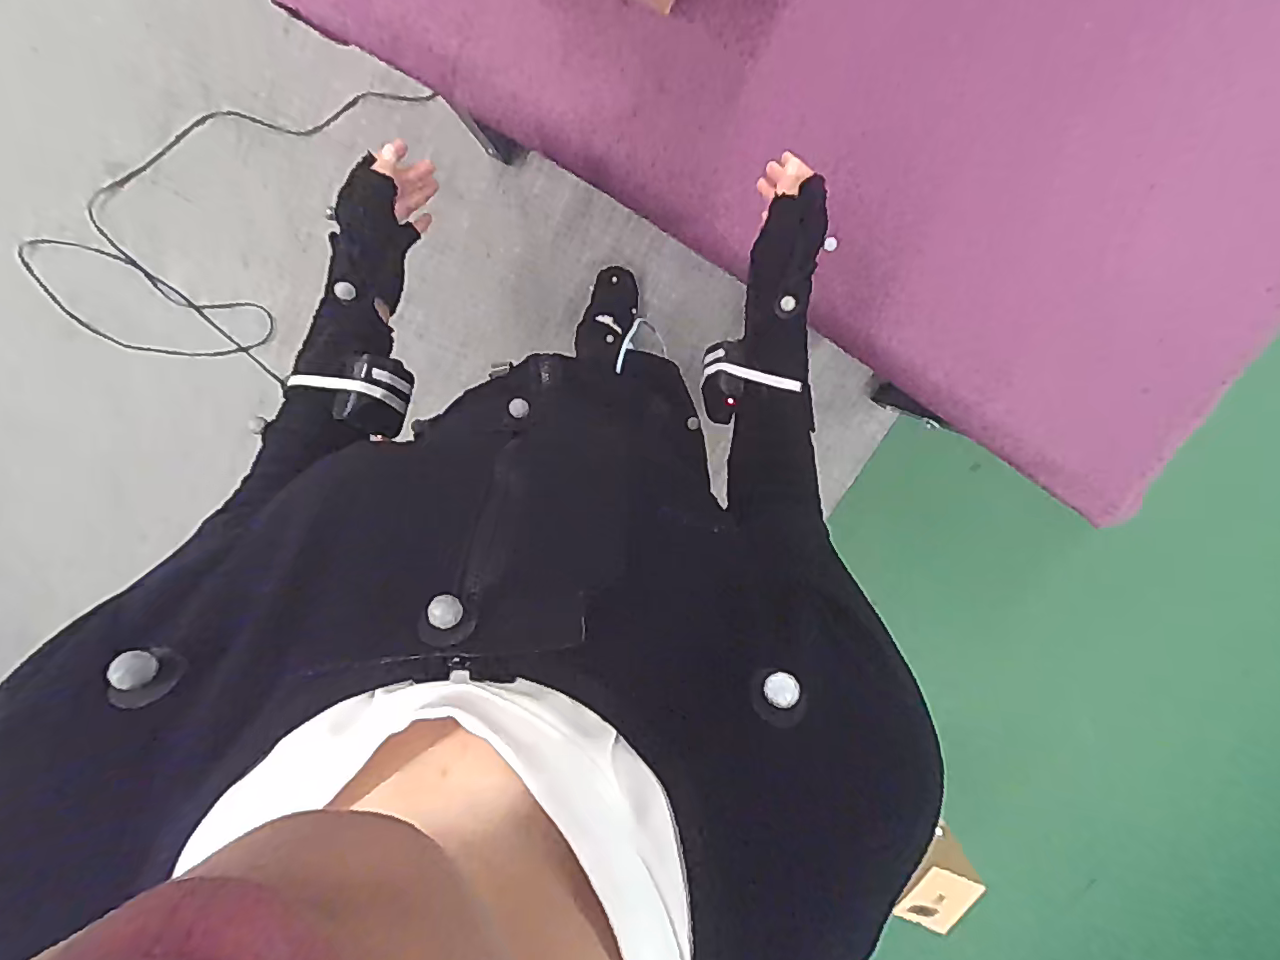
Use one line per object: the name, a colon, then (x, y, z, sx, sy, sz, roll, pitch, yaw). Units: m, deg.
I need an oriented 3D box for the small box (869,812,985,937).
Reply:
small box: (0.717, 1.000, 1.381, 0.168, 0.176, 0.179, 30, 105, -11)
